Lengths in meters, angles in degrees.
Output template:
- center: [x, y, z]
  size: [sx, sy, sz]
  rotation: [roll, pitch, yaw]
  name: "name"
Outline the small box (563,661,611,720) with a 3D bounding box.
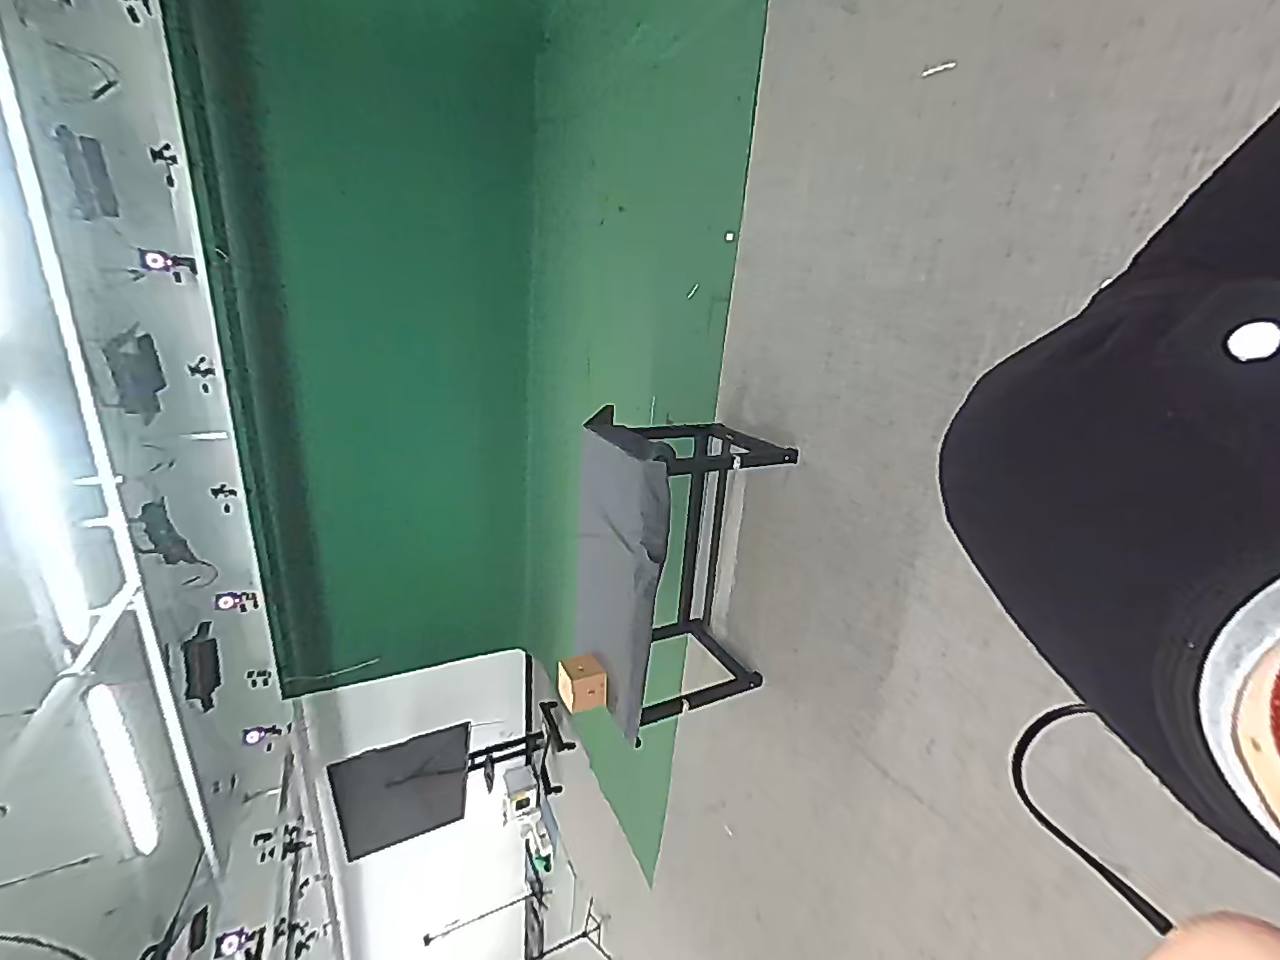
- center: [-0.239, 0.943, 2.441]
  size: [0.179, 0.176, 0.168]
  rotation: [27, 117, 59]
  name: "small box"
